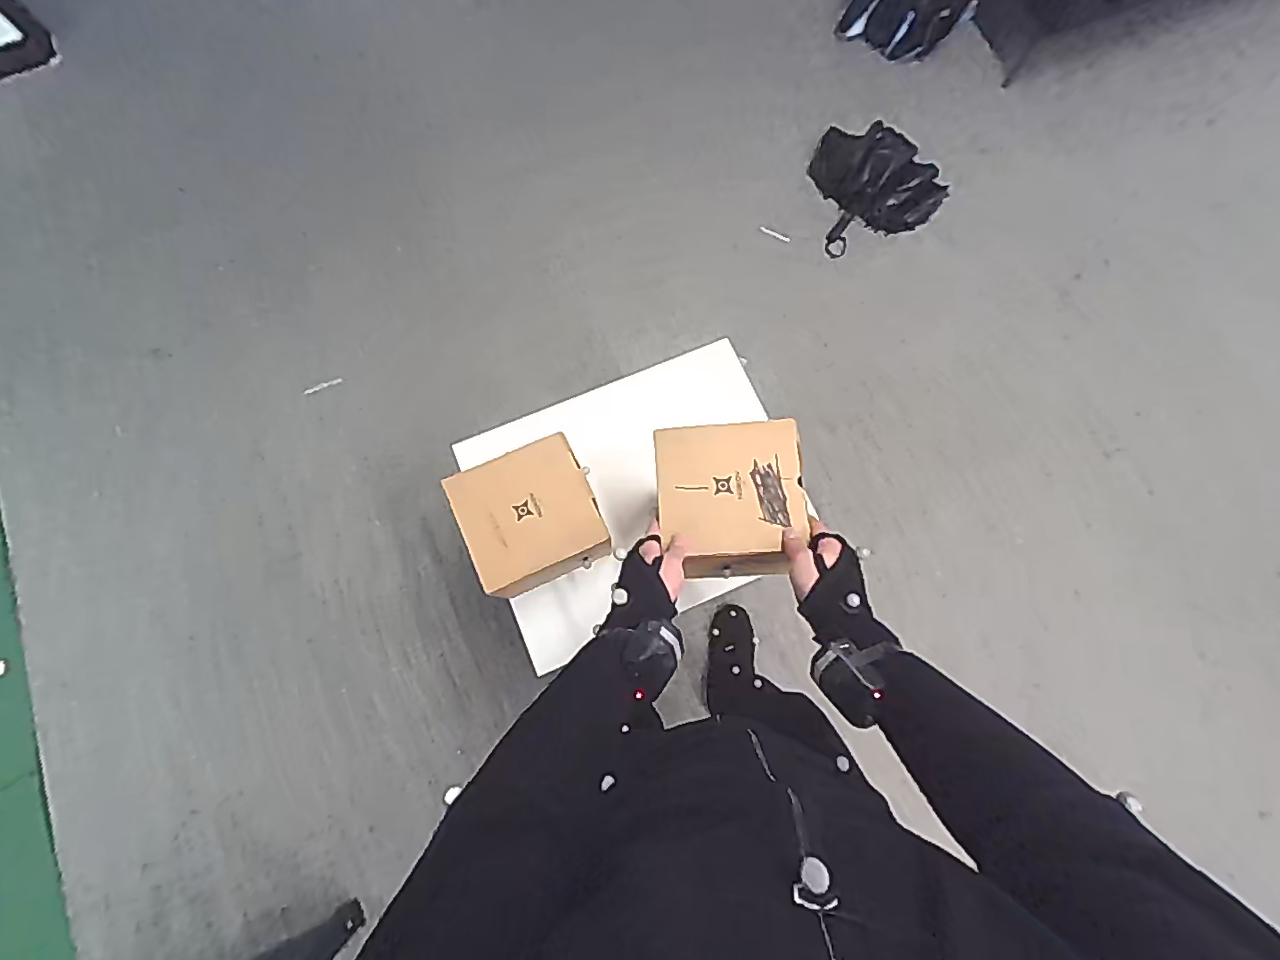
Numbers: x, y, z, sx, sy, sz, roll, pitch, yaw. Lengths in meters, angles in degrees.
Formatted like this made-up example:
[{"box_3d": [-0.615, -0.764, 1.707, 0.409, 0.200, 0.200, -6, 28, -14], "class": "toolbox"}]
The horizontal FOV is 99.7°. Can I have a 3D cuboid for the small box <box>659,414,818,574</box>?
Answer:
[{"box_3d": [0.116, 0.026, 0.707, 0.179, 0.176, 0.168, -3, 70, 3], "class": "small box"}]

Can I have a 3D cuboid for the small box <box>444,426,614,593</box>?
[{"box_3d": [-0.148, 0.050, 0.770, 0.179, 0.176, 0.168, -23, 77, -8], "class": "small box"}]
